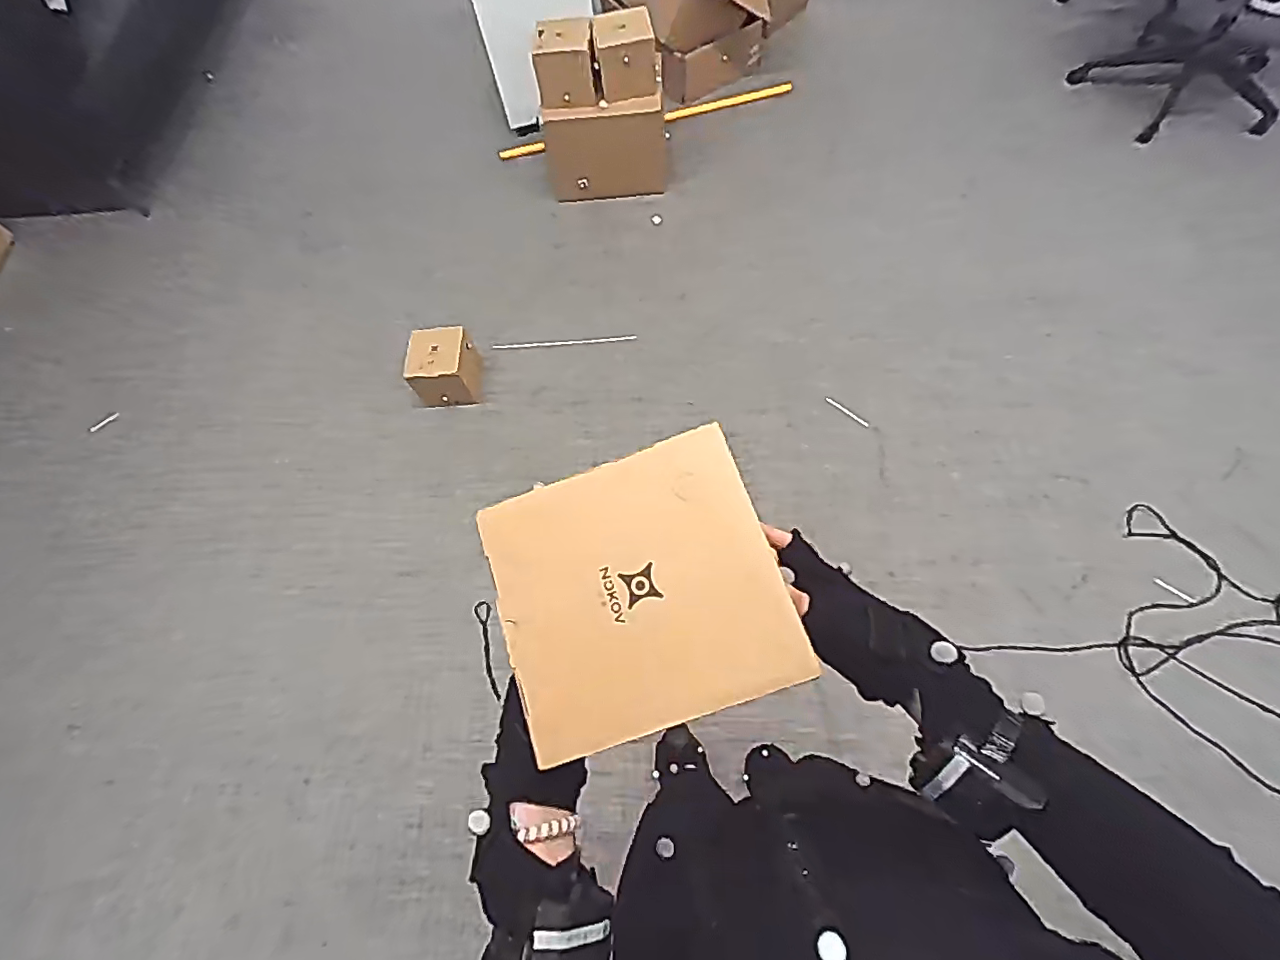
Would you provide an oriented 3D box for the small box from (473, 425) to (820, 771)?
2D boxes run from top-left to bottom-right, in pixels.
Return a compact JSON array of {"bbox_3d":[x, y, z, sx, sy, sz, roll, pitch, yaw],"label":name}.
[{"bbox_3d":[0.009,0.084,0.402,0.179,0.176,0.168,-21,74,6],"label":"small box"}]

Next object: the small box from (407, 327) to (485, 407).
[{"bbox_3d":[-0.593,-0.347,1.677,0.168,0.176,0.179,-4,66,4],"label":"small box"}]
